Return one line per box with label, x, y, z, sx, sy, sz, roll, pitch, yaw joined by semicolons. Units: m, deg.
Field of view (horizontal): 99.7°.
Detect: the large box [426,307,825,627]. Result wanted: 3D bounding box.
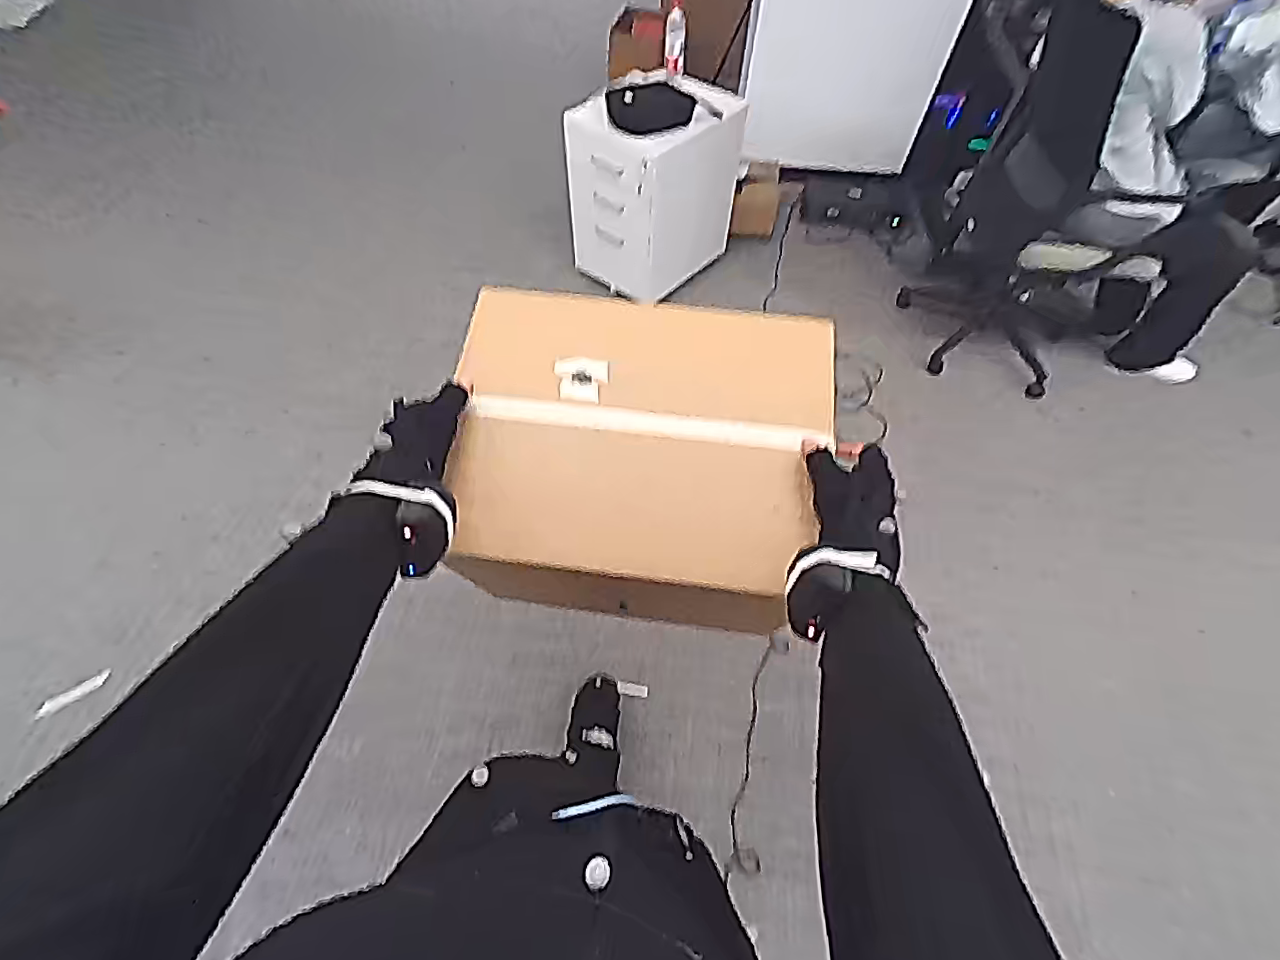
large box;0.003;0.005;0.720;0.408;0.320;0.320;7;68;4
